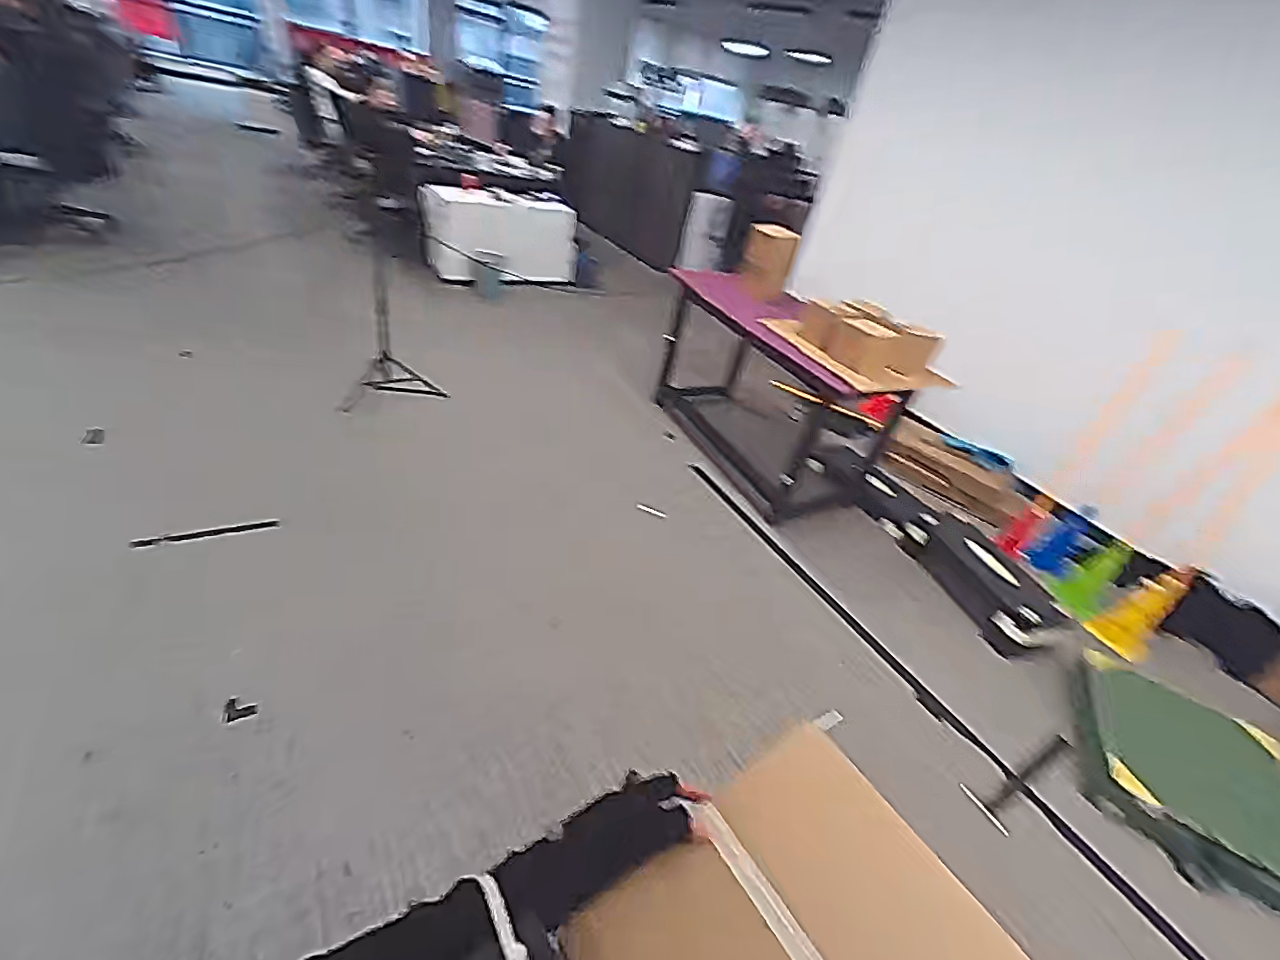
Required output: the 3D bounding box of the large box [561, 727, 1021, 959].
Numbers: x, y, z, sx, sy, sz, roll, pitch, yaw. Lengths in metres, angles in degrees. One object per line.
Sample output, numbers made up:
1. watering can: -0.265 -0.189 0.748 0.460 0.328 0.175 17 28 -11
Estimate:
1. large box: 0.156 0.539 0.502 0.320 0.320 0.408 -22 50 -30
